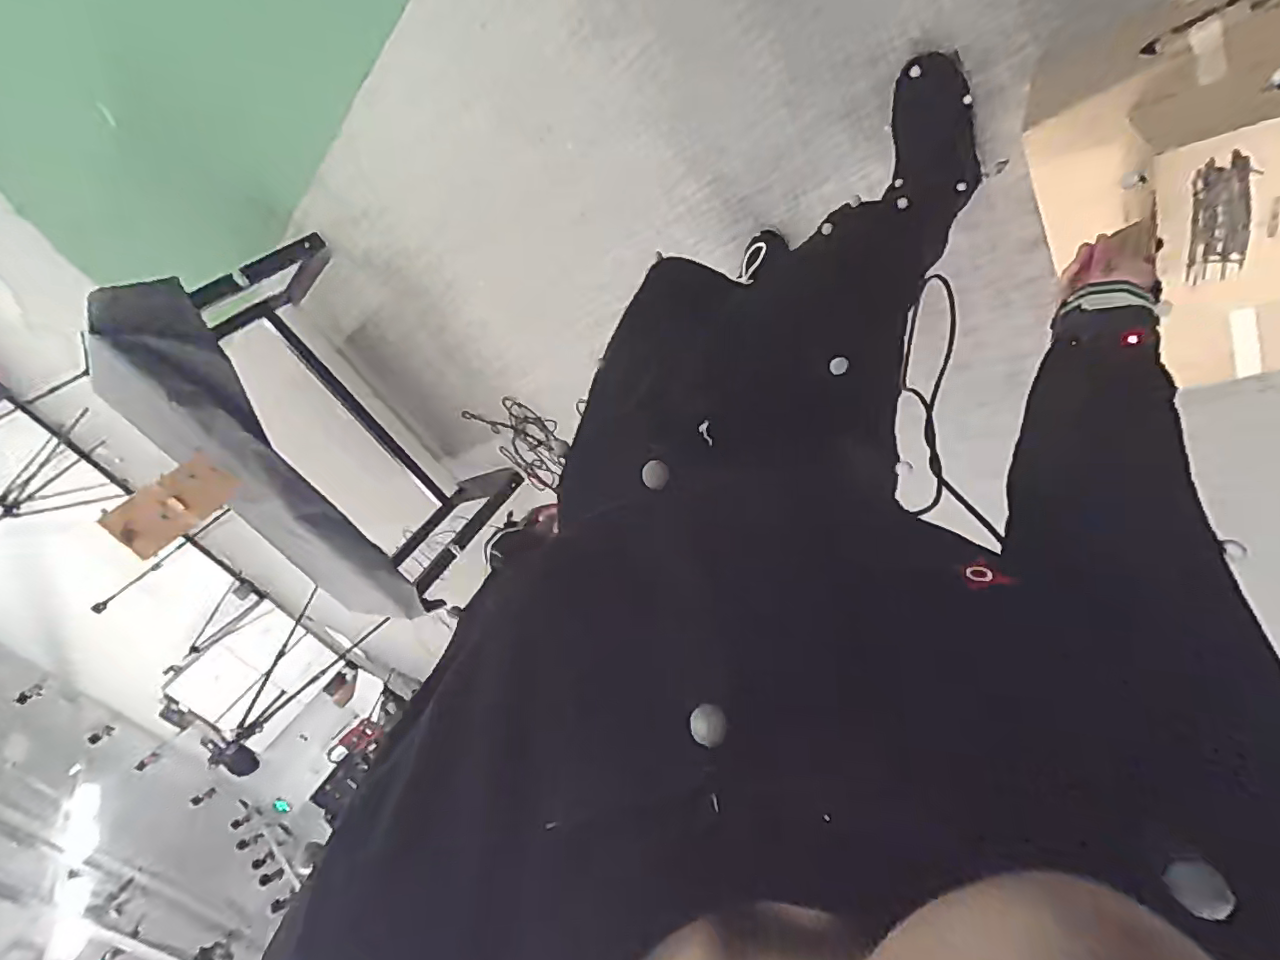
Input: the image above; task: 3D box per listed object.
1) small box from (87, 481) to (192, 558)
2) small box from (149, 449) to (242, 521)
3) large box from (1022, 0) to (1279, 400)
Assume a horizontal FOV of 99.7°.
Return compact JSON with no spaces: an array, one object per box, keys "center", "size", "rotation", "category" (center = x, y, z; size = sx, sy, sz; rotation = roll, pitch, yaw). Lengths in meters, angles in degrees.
[{"center":[-1.513,0.119,1.642],"size":[0.179,0.176,0.168],"rotation":[-7,125,42],"category":"small box"},{"center":[-1.422,0.014,1.728],"size":[0.179,0.176,0.168],"rotation":[-6,126,44],"category":"small box"},{"center":[0.728,-0.380,0.687],"size":[0.320,0.320,0.408],"rotation":[-11,125,45],"category":"large box"}]
